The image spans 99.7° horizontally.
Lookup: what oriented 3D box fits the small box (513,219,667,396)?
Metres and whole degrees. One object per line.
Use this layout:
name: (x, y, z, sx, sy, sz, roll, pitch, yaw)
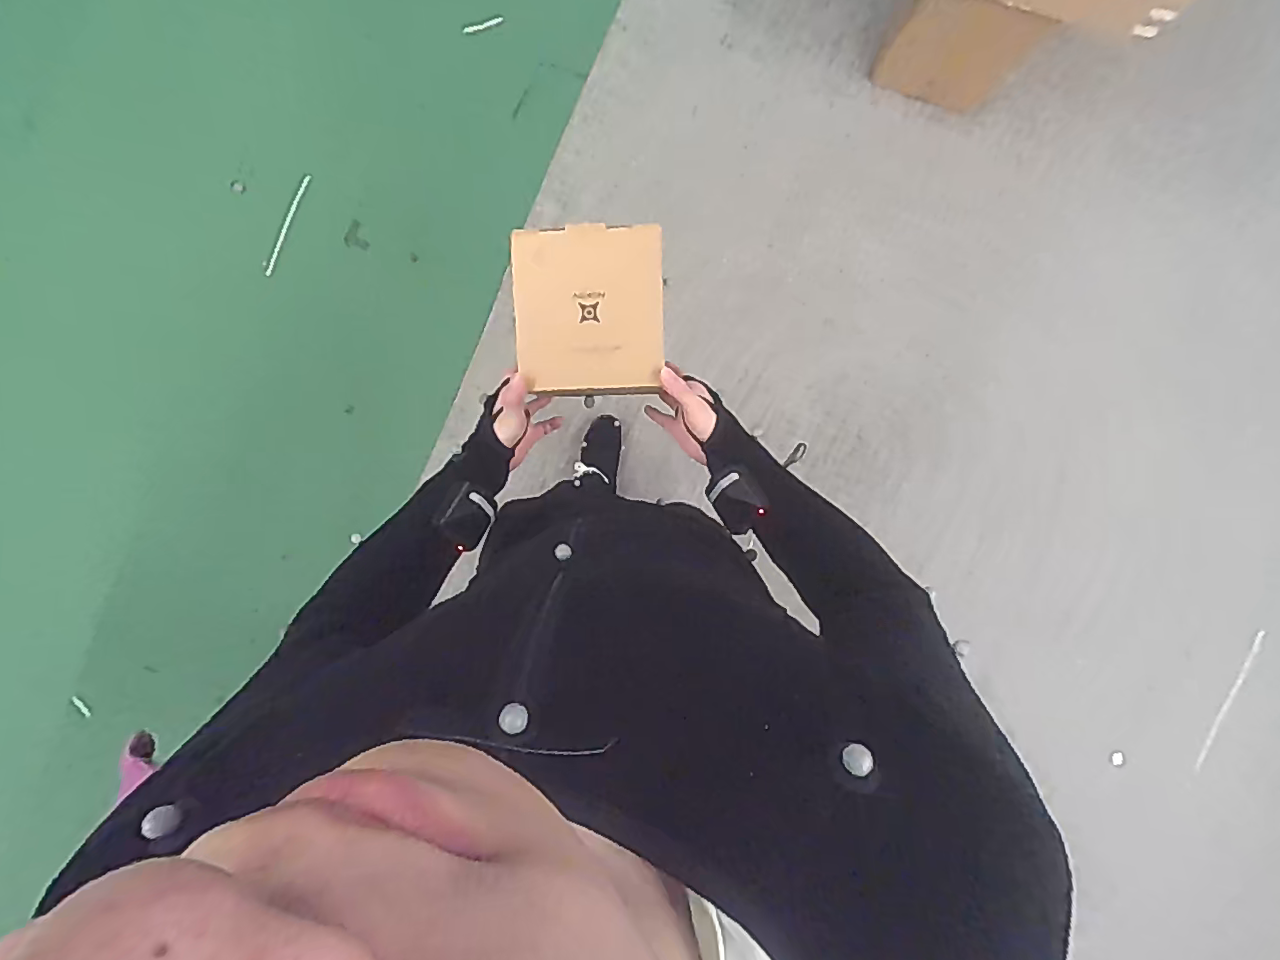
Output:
small box: (-0.053, -0.196, 0.657, 0.168, 0.176, 0.179, -1, 96, 1)
